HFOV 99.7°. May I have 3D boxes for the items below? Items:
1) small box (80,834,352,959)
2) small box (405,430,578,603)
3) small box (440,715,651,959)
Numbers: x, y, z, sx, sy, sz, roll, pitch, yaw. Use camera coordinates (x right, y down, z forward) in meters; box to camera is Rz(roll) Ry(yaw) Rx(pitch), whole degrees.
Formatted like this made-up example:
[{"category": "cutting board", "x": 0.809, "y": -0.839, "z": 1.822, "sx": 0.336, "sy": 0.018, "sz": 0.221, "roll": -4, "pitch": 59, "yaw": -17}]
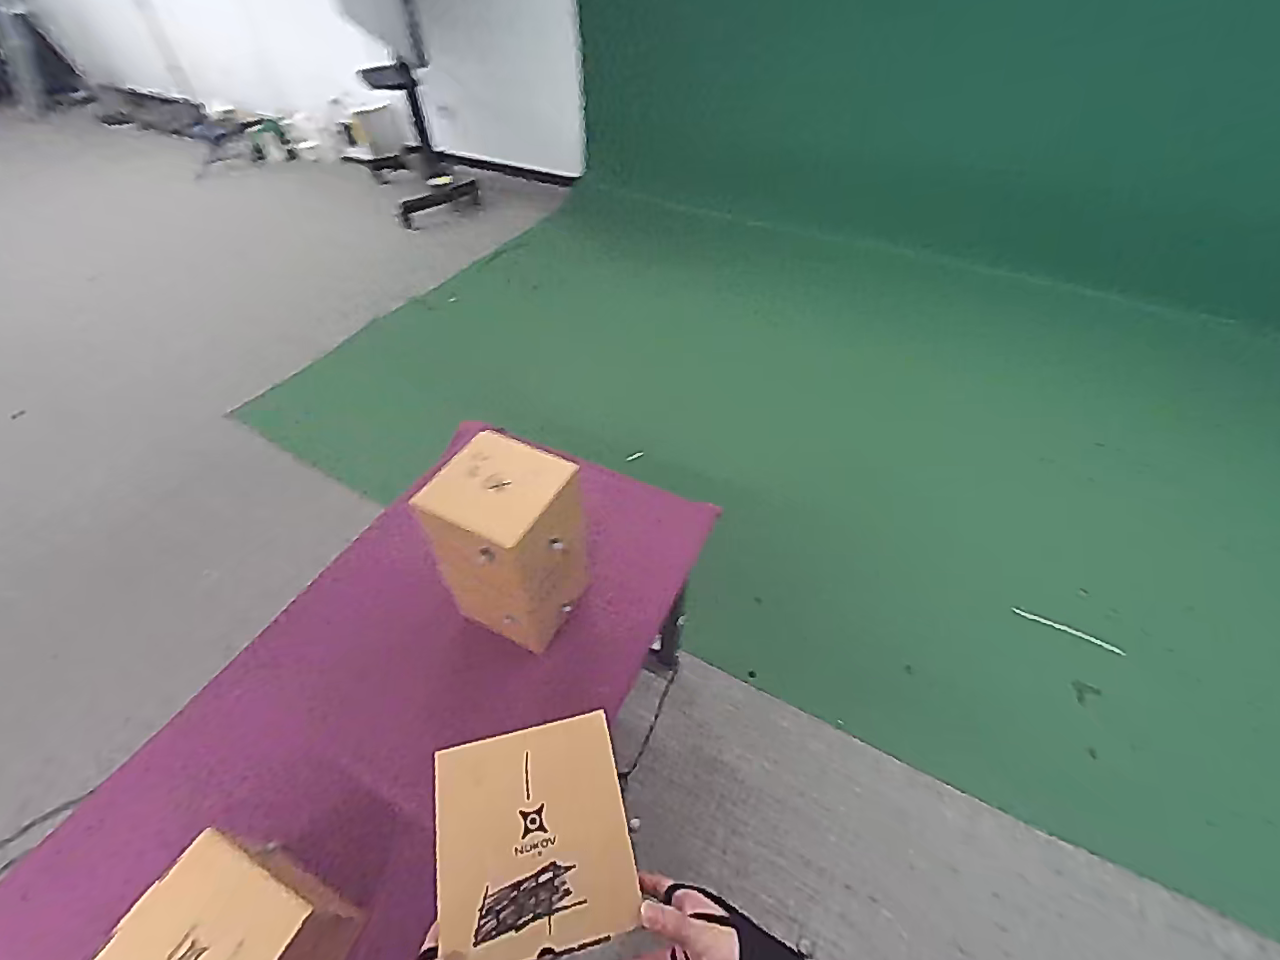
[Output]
[{"category": "small box", "x": -0.468, "y": 0.538, "z": 0.601, "sx": 0.179, "sy": 0.176, "sz": 0.168, "roll": 21, "pitch": 51, "yaw": 17}, {"category": "small box", "x": -0.207, "y": 0.060, "z": 0.813, "sx": 0.179, "sy": 0.176, "sz": 0.168, "roll": 21, "pitch": 51, "yaw": 18}, {"category": "small box", "x": -0.089, "y": 0.354, "z": 0.524, "sx": 0.168, "sy": 0.176, "sz": 0.179, "roll": -9, "pitch": 52, "yaw": -10}]
